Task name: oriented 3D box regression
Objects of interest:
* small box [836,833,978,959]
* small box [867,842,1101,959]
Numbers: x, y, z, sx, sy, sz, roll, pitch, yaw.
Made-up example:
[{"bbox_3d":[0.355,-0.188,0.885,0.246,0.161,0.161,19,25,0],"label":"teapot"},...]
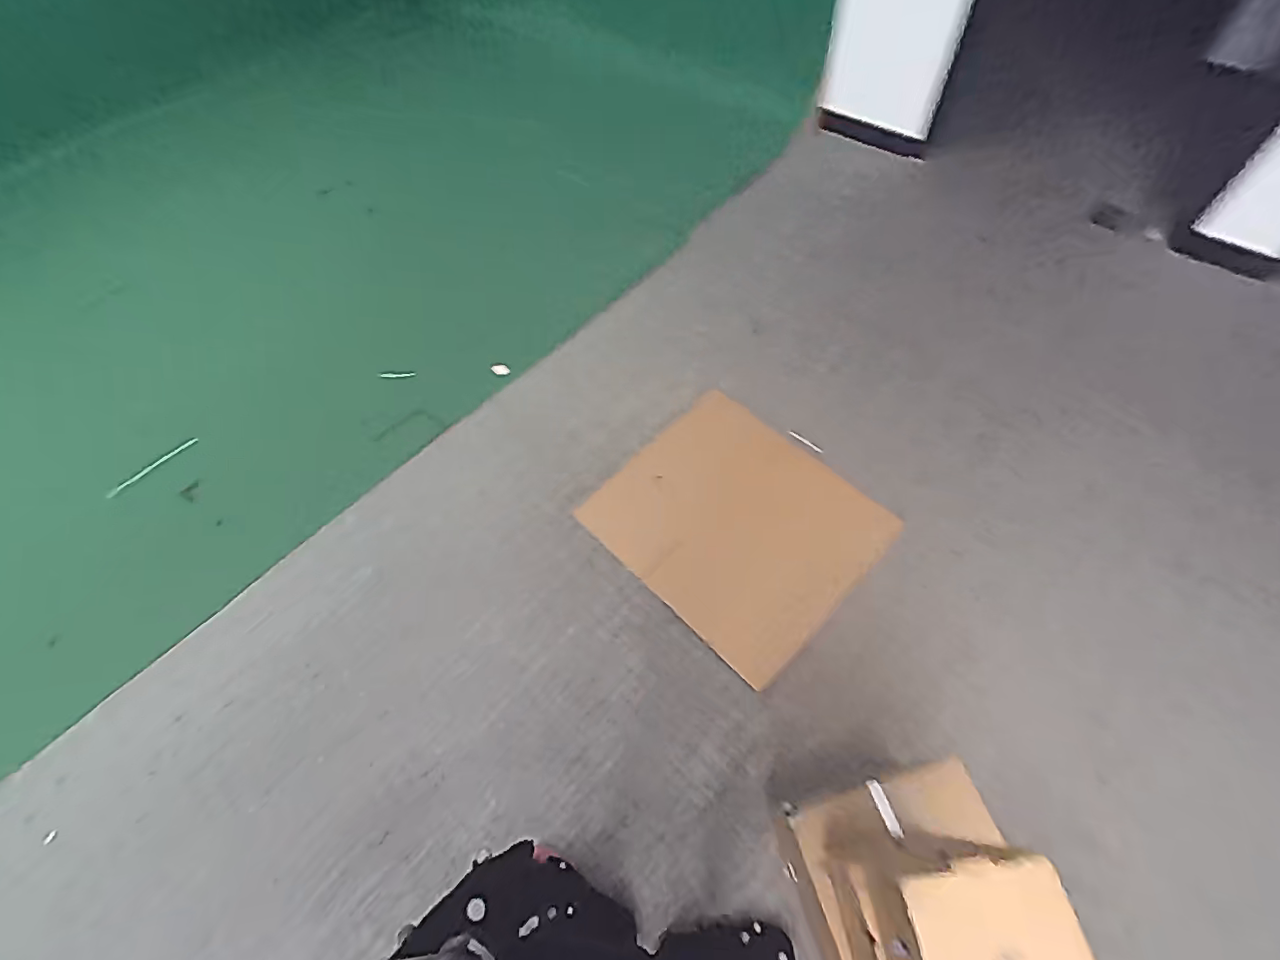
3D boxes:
[{"bbox_3d":[0.389,0.605,0.754,0.179,0.176,0.168,-11,59,0],"label":"small box"},{"bbox_3d":[0.384,0.527,0.612,0.168,0.176,0.179,-11,60,-1],"label":"small box"}]
